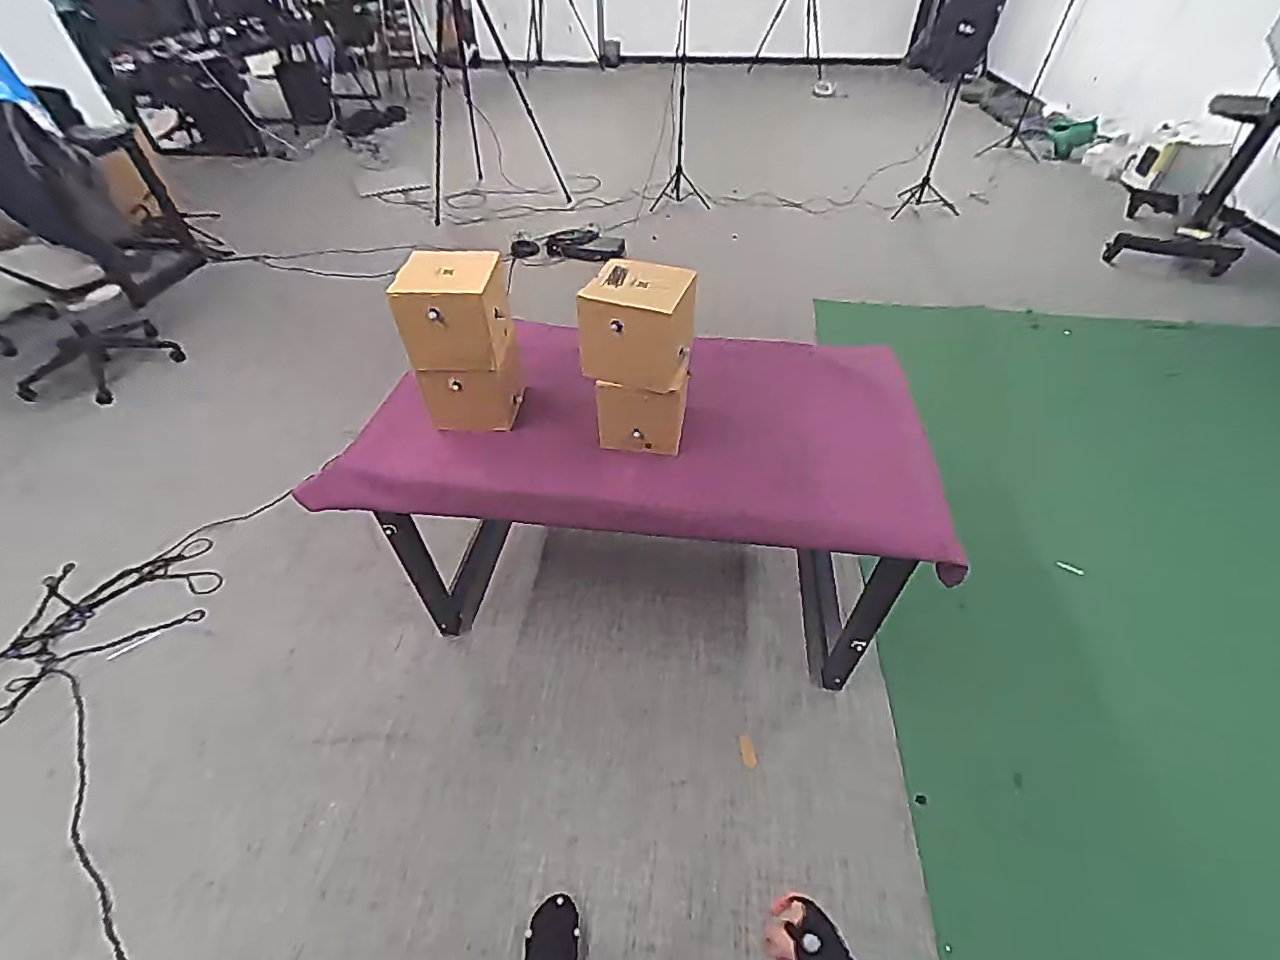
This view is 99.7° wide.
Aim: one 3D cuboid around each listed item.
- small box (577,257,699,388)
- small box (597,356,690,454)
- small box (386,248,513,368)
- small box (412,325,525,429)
[{"bbox_3d":[-0.001,-0.293,1.013,0.179,0.176,0.168,15,48,14],"label":"small box"},{"bbox_3d":[0.010,-0.179,1.132,0.168,0.176,0.179,7,46,7],"label":"small box"},{"bbox_3d":[-0.357,-0.333,1.058,0.179,0.176,0.168,0,47,2],"label":"small box"},{"bbox_3d":[-0.362,-0.225,1.179,0.179,0.176,0.168,3,47,2],"label":"small box"}]
